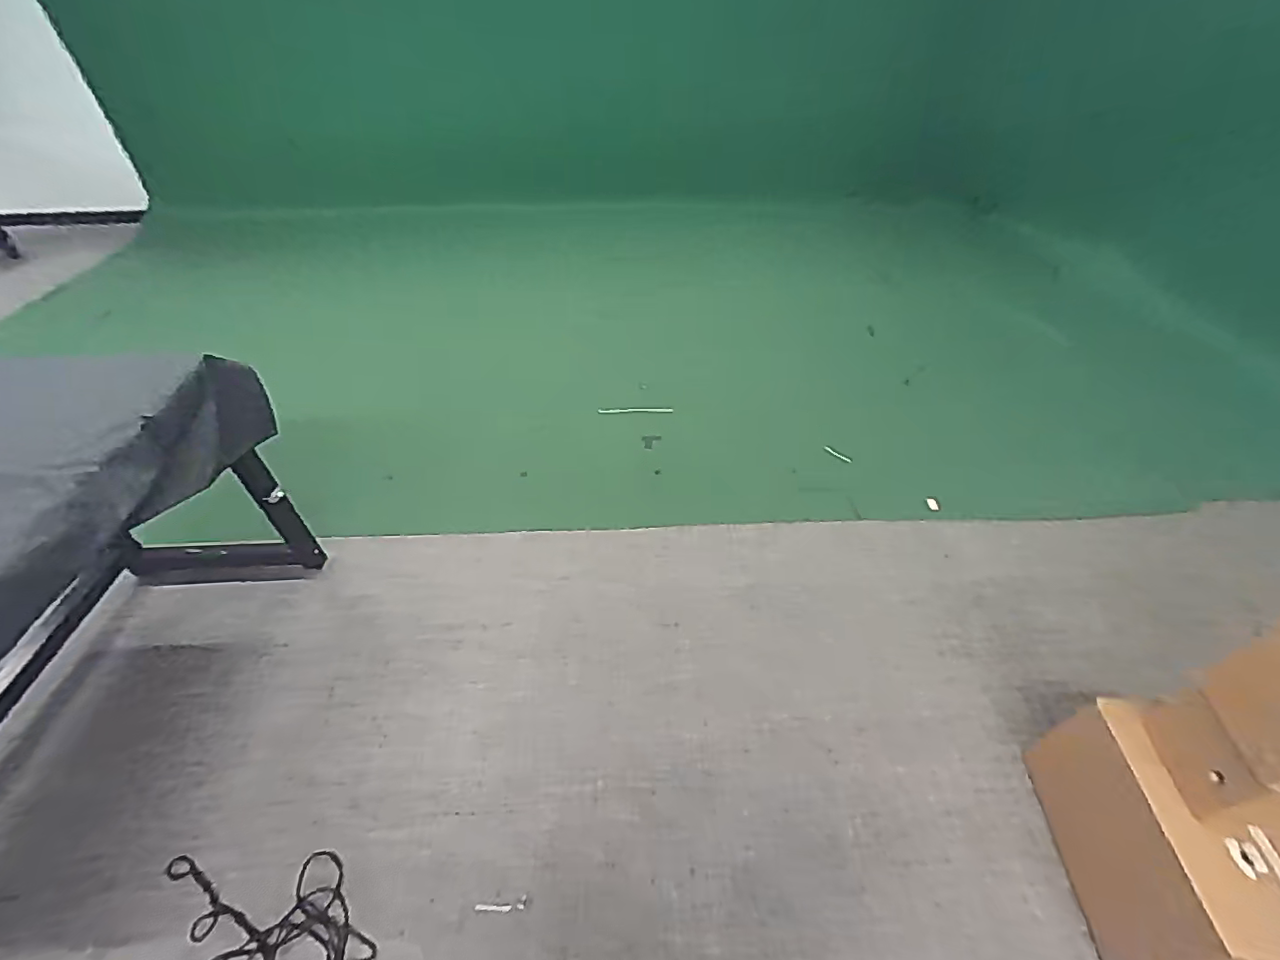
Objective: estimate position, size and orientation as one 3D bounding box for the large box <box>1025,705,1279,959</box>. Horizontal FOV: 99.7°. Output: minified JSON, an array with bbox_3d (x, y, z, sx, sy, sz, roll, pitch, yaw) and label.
[{"bbox_3d":[1.050,0.698,1.040,0.320,0.320,0.408,2,45,4],"label":"large box"}]

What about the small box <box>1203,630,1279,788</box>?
[{"bbox_3d":[1.035,0.353,0.815,0.168,0.176,0.179,5,45,4],"label":"small box"}]

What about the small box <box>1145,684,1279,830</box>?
[{"bbox_3d":[1.041,0.475,0.922,0.168,0.176,0.179,4,43,3],"label":"small box"}]
